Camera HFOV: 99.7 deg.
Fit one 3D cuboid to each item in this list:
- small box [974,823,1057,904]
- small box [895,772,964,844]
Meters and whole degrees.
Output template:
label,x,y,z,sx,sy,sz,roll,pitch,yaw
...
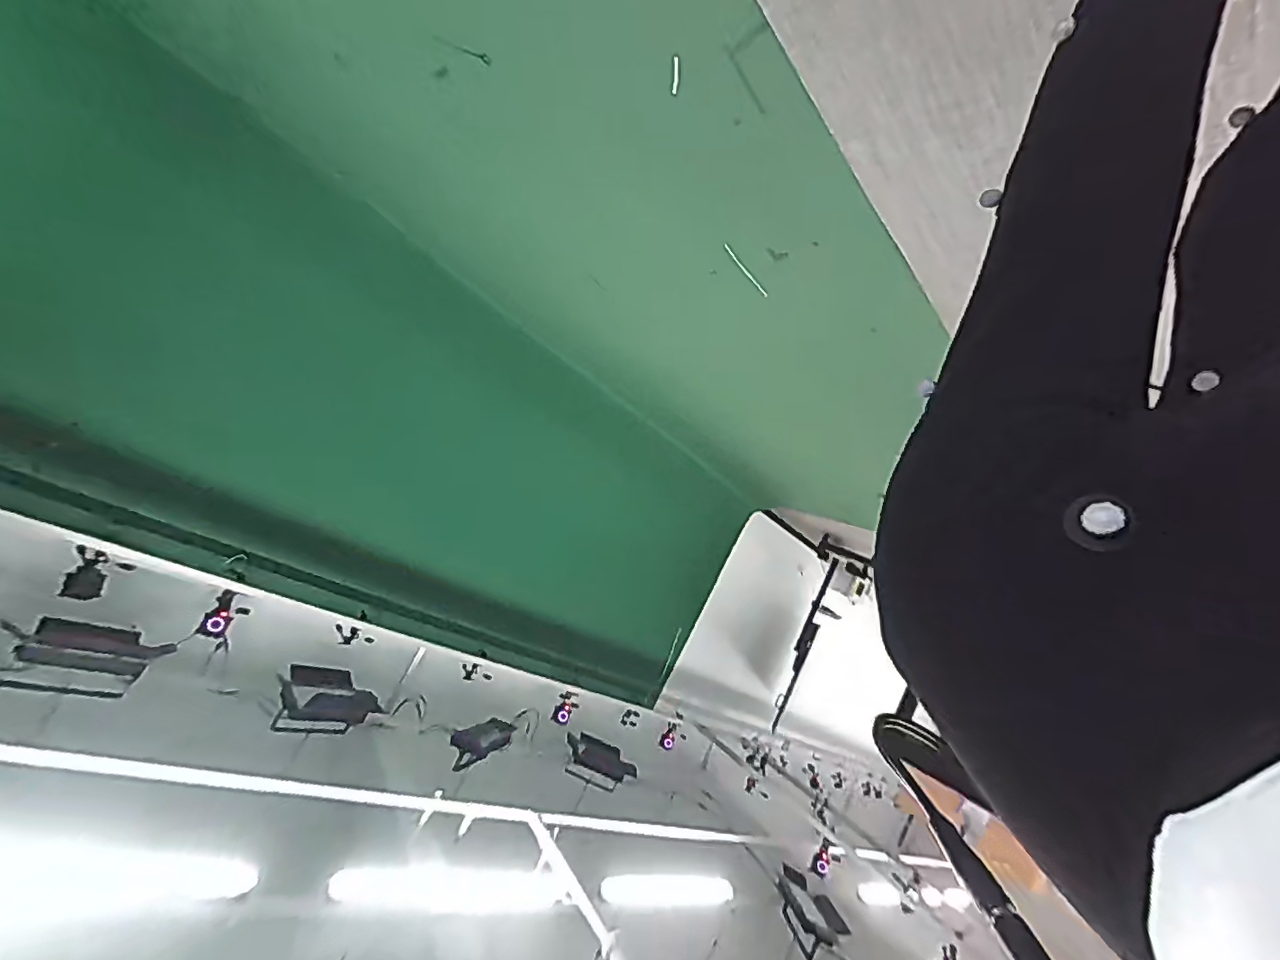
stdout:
label,x,y,z,sx,sy,sz,roll,pitch,yaw
small box,1.295,1.314,1.864,0.168,0.176,0.179,33,169,-36
small box,1.125,1.266,2.091,0.168,0.176,0.179,37,167,-39
